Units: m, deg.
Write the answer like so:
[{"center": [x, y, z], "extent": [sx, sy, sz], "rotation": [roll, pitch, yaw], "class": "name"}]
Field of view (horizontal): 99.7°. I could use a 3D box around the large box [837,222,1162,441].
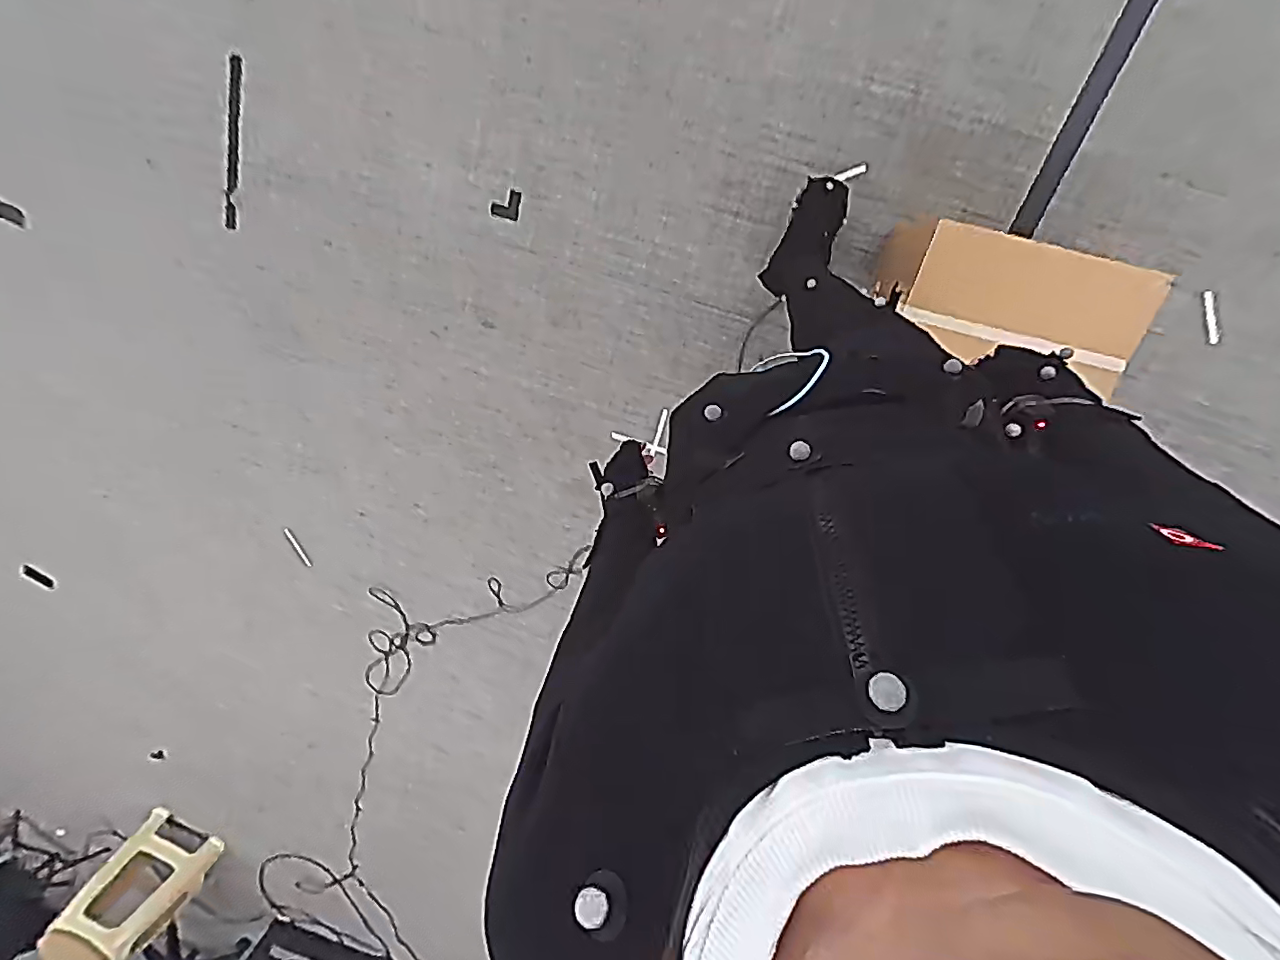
[{"center": [0.676, -0.309, 1.112], "extent": [0.408, 0.320, 0.320], "rotation": [16, 113, 2], "class": "large box"}]
